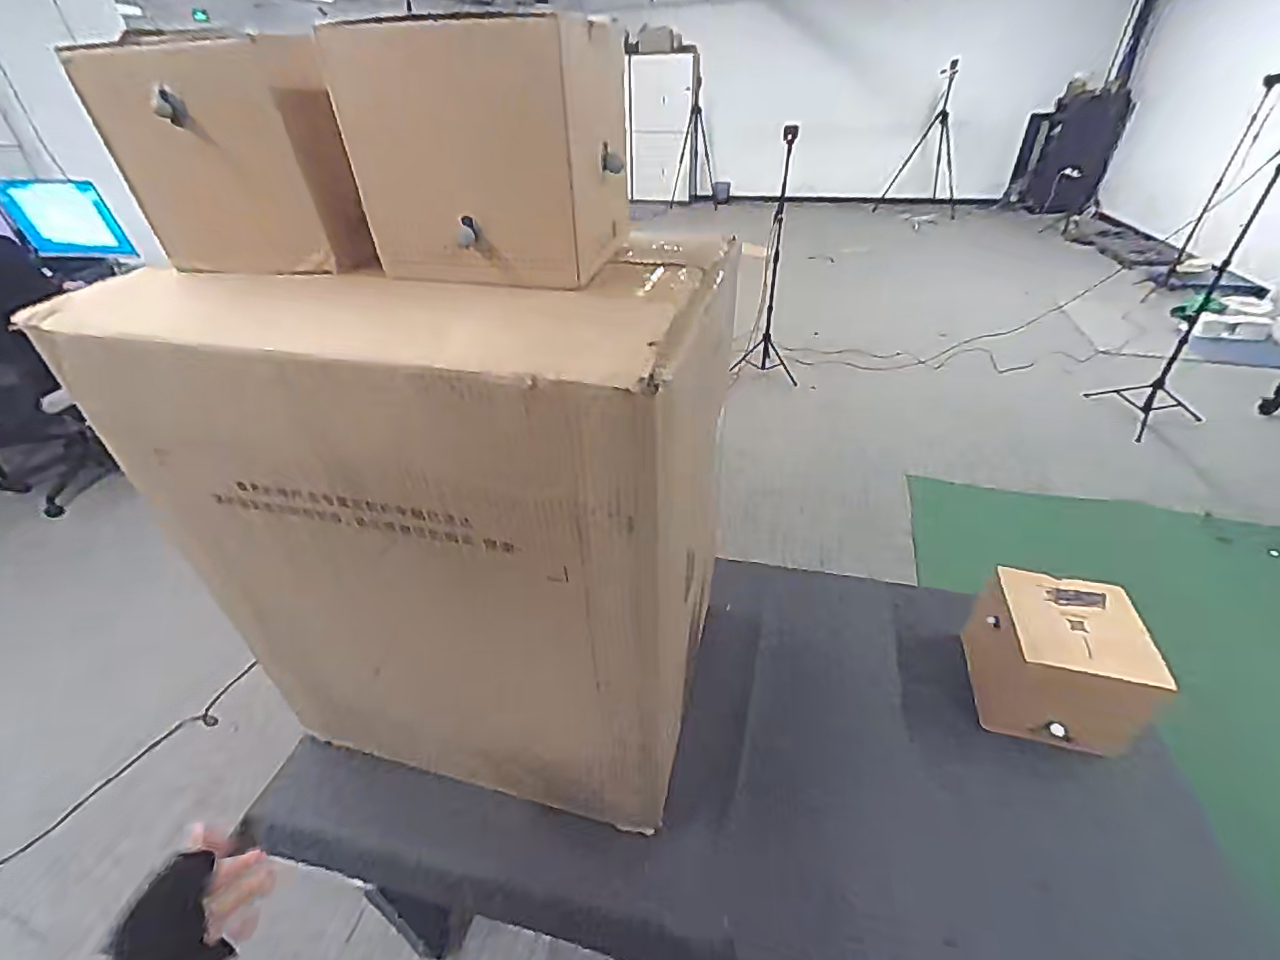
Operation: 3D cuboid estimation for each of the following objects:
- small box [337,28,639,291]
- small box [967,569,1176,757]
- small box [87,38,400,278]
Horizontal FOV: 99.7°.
[{"bbox_3d":[-0.102,-0.270,0.458,0.179,0.176,0.168,7,38,10],"label":"small box"},{"bbox_3d":[0.603,0.263,0.790,0.168,0.176,0.179,8,38,14],"label":"small box"},{"bbox_3d":[-0.319,-0.298,0.504,0.179,0.176,0.168,6,40,10],"label":"small box"}]
